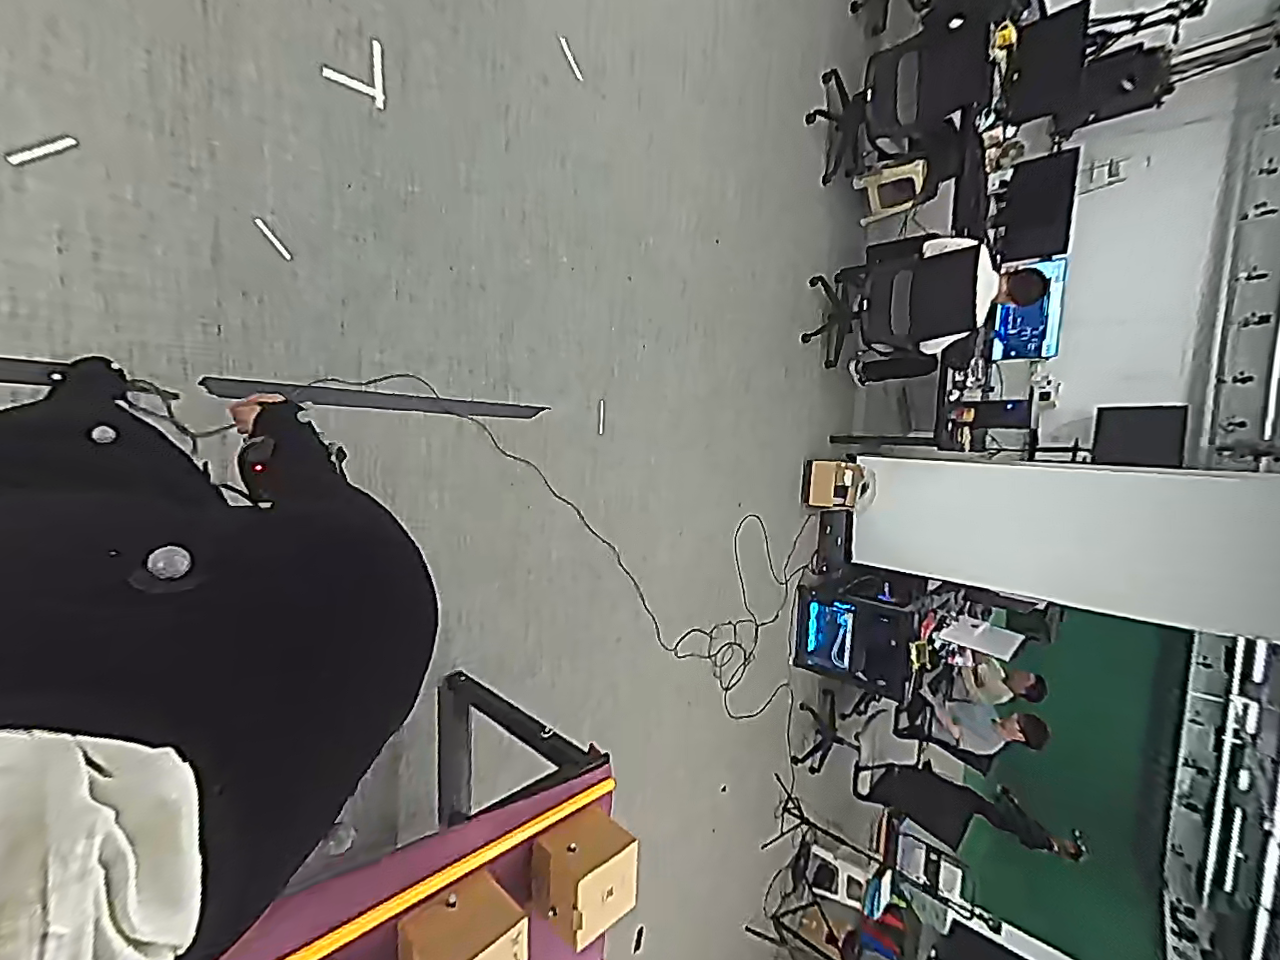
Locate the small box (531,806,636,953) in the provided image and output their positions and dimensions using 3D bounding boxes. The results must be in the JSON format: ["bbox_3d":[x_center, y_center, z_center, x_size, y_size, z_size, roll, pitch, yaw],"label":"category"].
[{"bbox_3d":[-0.130,0.886,1.221,0.179,0.176,0.168,-3,97,-44],"label":"small box"}]

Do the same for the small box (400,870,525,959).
[{"bbox_3d":[-0.334,0.890,1.008,0.179,0.176,0.168,-3,97,-46],"label":"small box"}]
